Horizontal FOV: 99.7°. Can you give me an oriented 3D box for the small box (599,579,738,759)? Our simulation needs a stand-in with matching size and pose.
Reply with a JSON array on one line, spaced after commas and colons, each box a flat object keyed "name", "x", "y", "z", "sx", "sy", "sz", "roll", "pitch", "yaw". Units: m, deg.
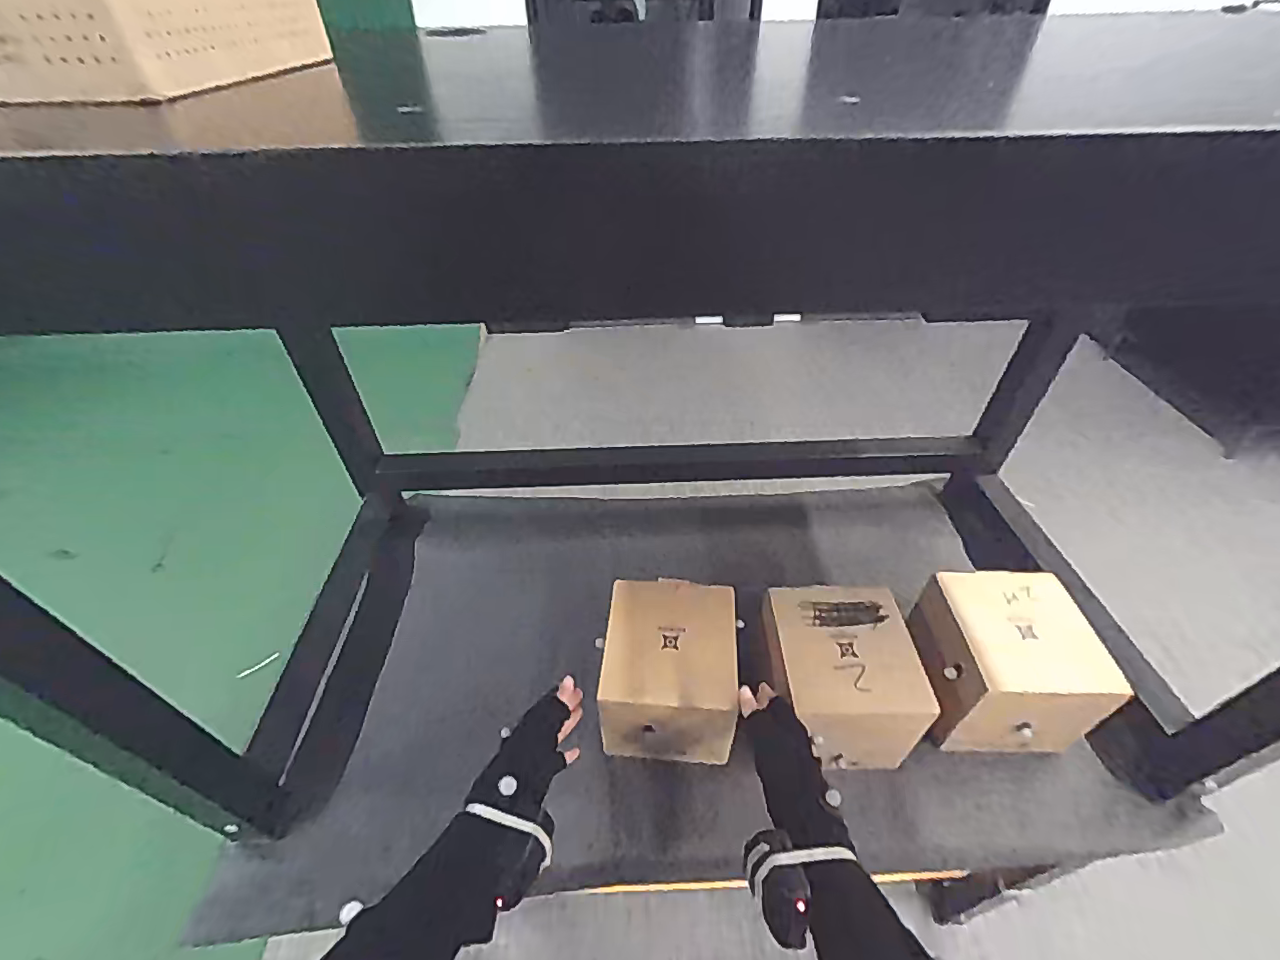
[{"name": "small box", "x": 0.043, "y": 0.258, "z": 0.737, "sx": 0.168, "sy": 0.176, "sz": 0.179, "roll": 3, "pitch": 43, "yaw": 4}]

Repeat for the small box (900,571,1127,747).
[{"name": "small box", "x": 0.484, "y": 0.244, "z": 0.736, "sx": 0.168, "sy": 0.176, "sz": 0.179, "roll": 0, "pitch": 42, "yaw": 2}]
